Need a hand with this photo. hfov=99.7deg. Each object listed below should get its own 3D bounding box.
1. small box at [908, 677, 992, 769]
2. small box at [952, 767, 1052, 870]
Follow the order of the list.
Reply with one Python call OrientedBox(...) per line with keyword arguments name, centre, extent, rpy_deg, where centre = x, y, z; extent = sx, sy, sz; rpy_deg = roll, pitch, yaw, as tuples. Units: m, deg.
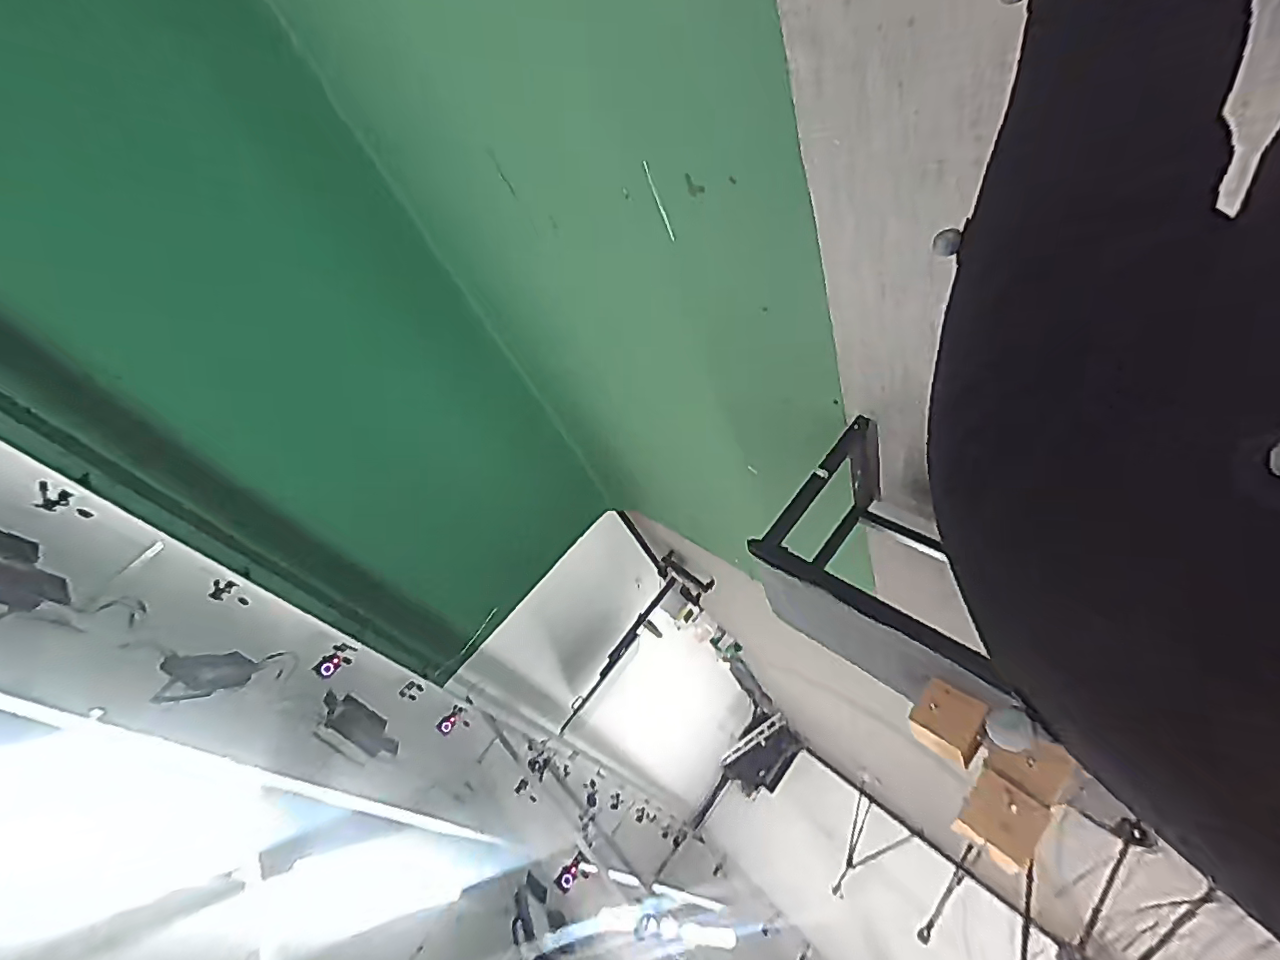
OrientedBox(name="small box", centre=(0.962, 0.745, 1.673), extent=(0.168, 0.176, 0.179), rpy_deg=(24, 156, 49))
OrientedBox(name="small box", centre=(0.985, 0.922, 1.476), extent=(0.168, 0.176, 0.179), rpy_deg=(31, 159, 37))
